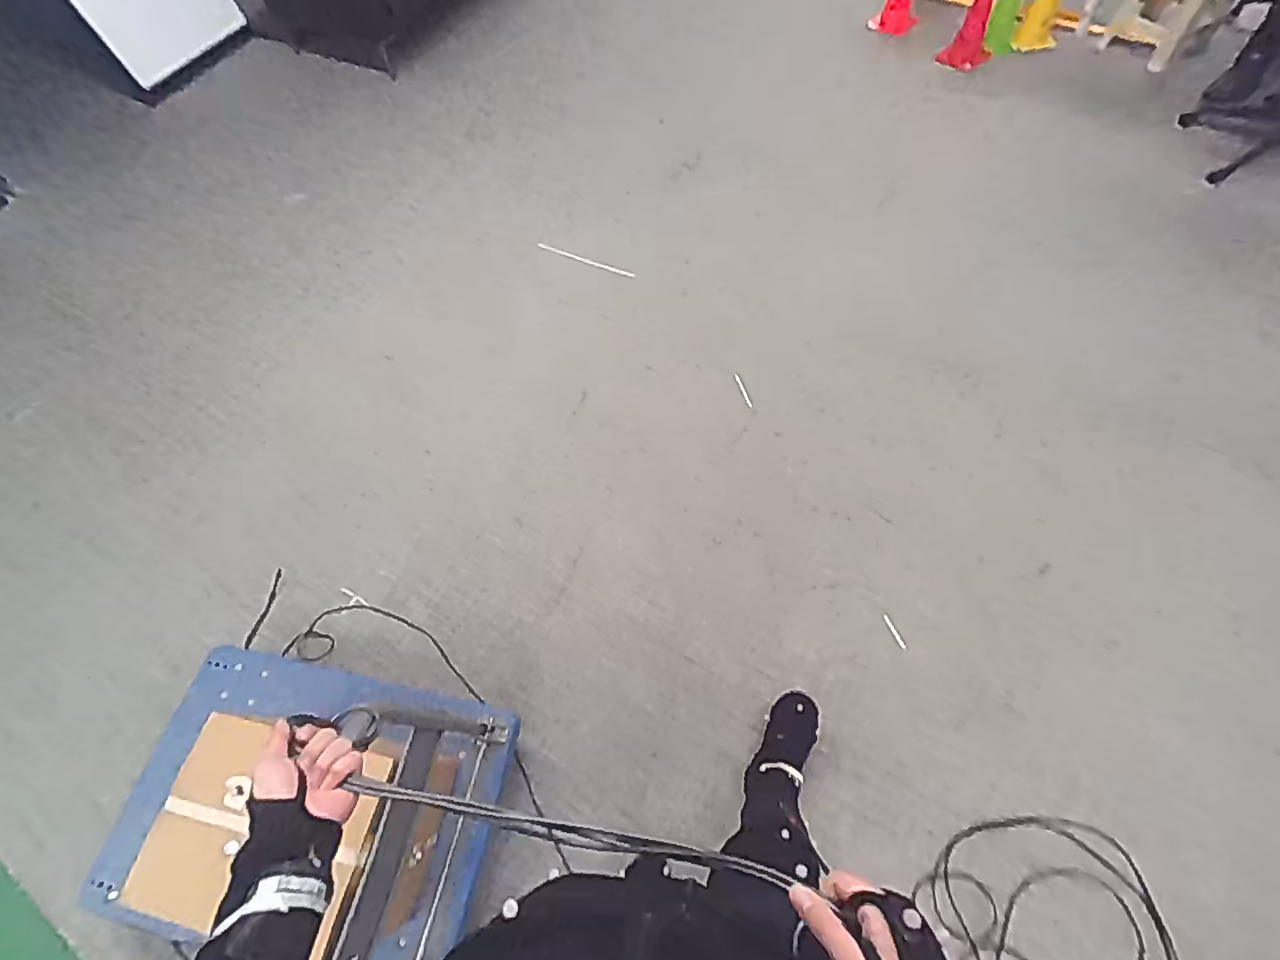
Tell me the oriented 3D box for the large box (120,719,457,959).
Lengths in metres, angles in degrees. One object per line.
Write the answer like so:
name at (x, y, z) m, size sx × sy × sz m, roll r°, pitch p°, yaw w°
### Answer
large box at (-0.649, 0.689, 1.079) m, size 0.408 × 0.320 × 0.320 m, roll 8°, pitch 63°, yaw 11°
